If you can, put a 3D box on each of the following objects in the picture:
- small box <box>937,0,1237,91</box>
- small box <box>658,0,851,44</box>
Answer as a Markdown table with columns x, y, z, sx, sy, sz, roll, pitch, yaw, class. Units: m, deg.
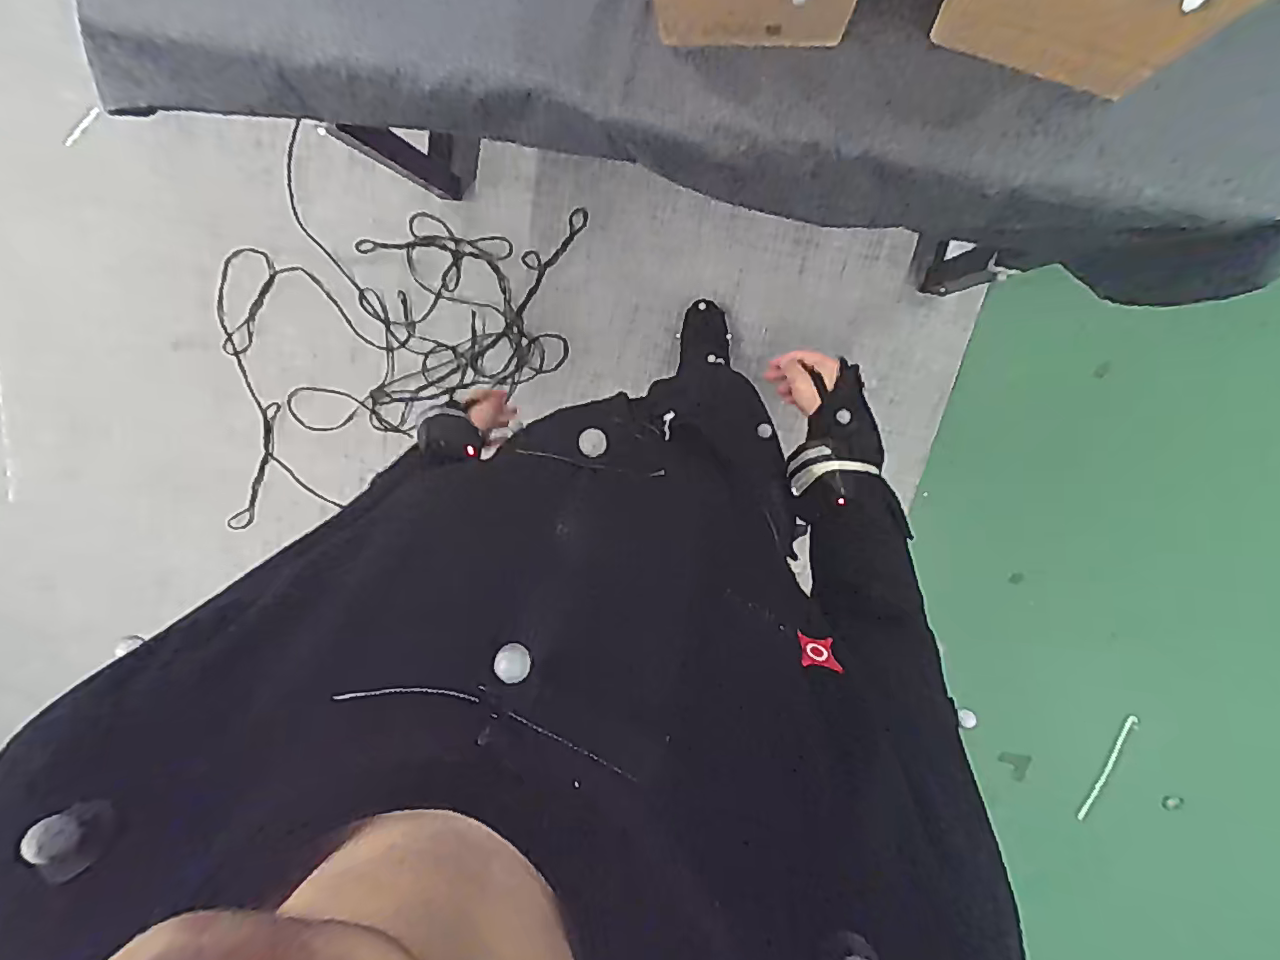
| x | y | z | sx | sy | sz | roll | pitch | yaw | class |
| --- | --- | --- | --- | --- | --- | --- | --- | --- | --- |
| 0.351 | -0.420 | 0.382 | 0.179 | 0.176 | 0.168 | 20 | 104 | 3 | small box |
| 0.097 | -0.469 | 0.406 | 0.168 | 0.176 | 0.179 | 5 | 102 | 5 | small box |
